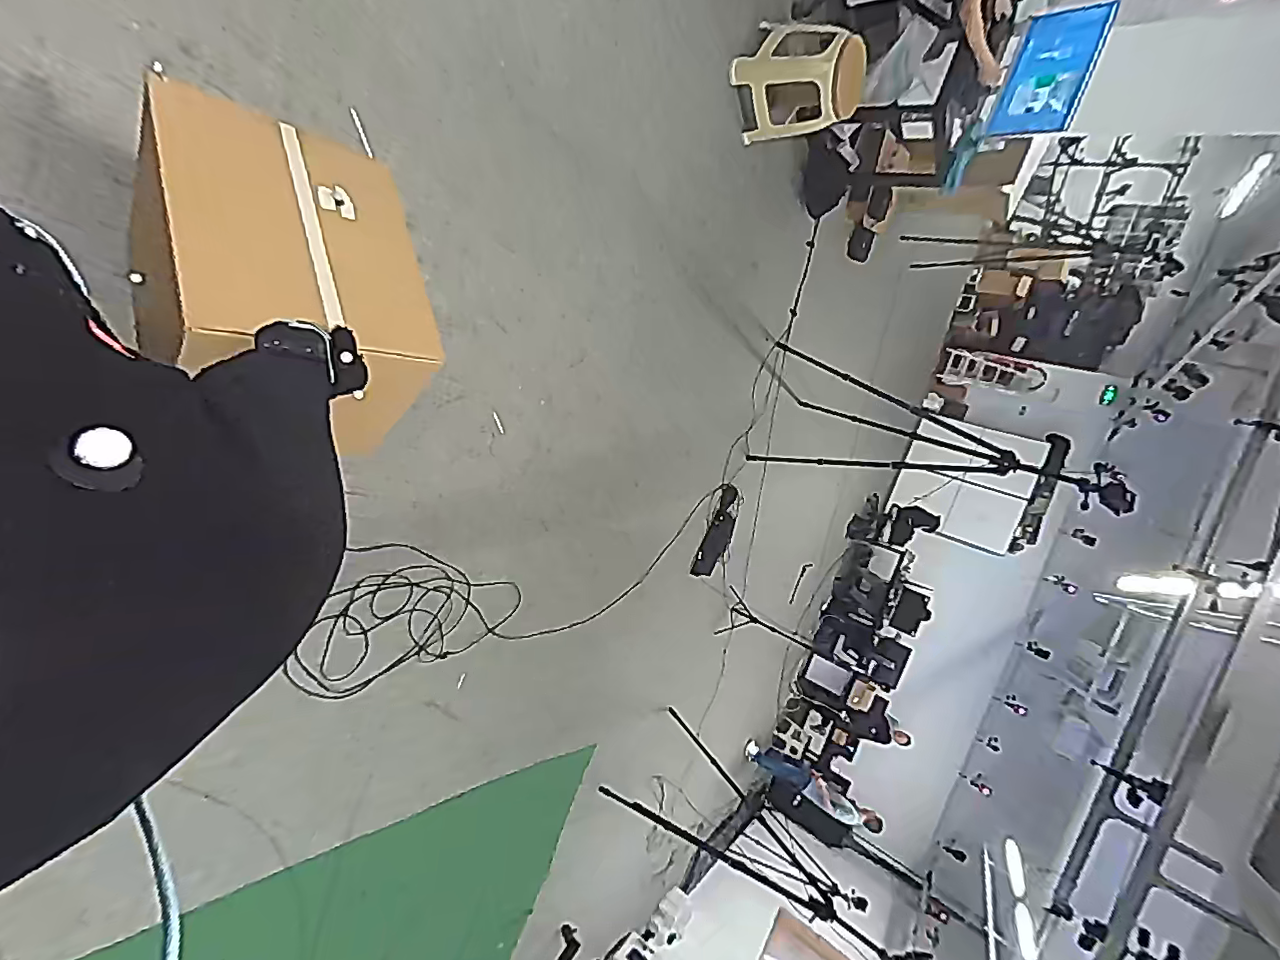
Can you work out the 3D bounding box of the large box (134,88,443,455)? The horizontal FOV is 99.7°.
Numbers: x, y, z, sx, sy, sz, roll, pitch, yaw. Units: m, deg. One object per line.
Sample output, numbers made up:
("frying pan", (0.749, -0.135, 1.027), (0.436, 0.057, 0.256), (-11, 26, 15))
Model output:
("large box", (-0.575, -0.287, 0.870), (0.320, 0.408, 0.320), (-34, 160, 37))
